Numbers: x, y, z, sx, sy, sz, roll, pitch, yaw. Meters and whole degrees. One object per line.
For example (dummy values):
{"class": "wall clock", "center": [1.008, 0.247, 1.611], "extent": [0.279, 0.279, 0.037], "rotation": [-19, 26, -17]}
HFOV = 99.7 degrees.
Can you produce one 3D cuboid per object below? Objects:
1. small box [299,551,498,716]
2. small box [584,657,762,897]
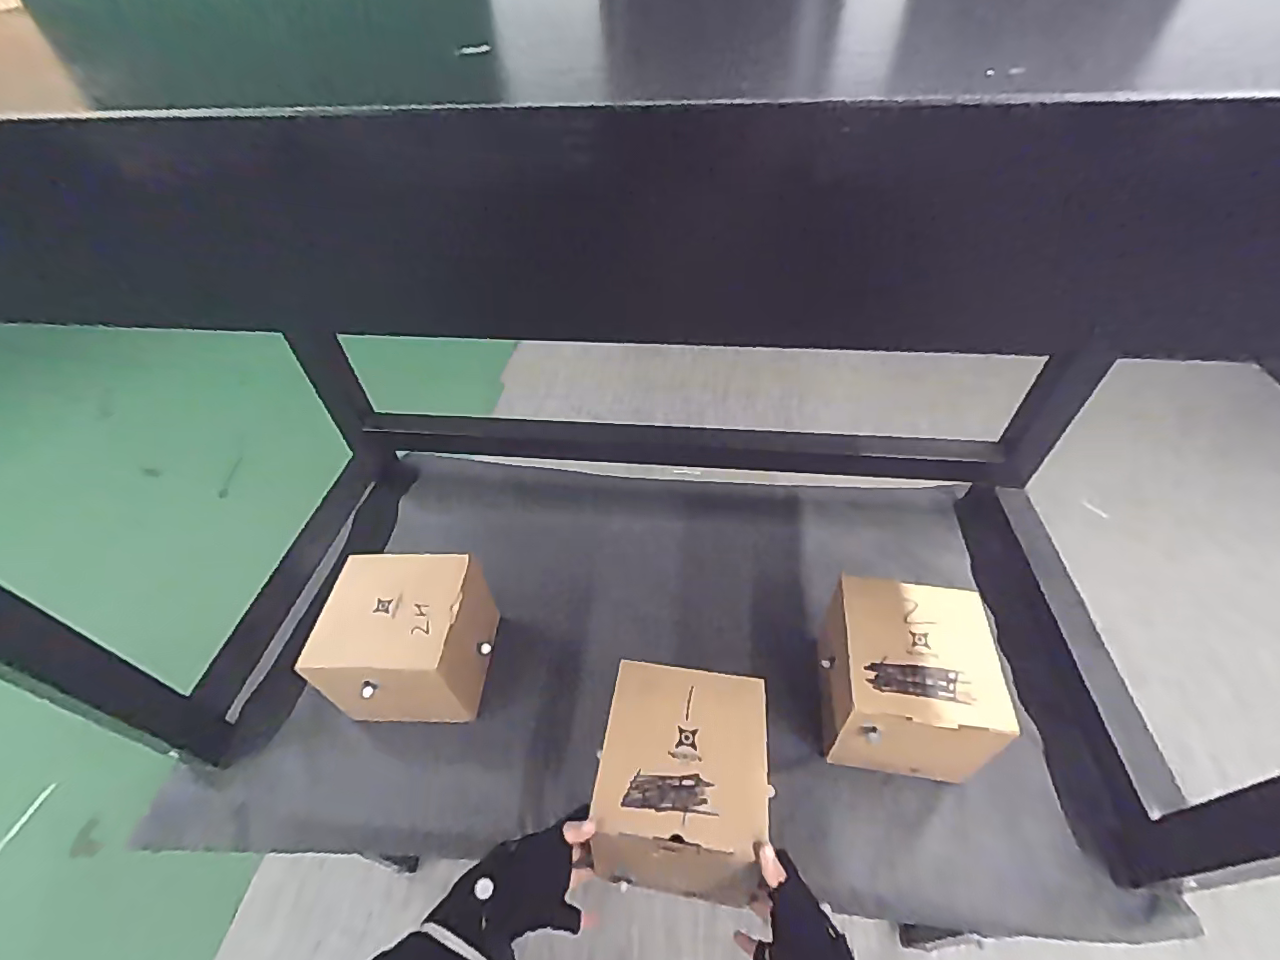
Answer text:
{"class": "small box", "center": [-0.316, 0.215, 0.752], "extent": [0.179, 0.176, 0.168], "rotation": [1, 47, 3]}
{"class": "small box", "center": [0.042, 0.330, 0.601], "extent": [0.168, 0.176, 0.179], "rotation": [6, 40, 7]}
